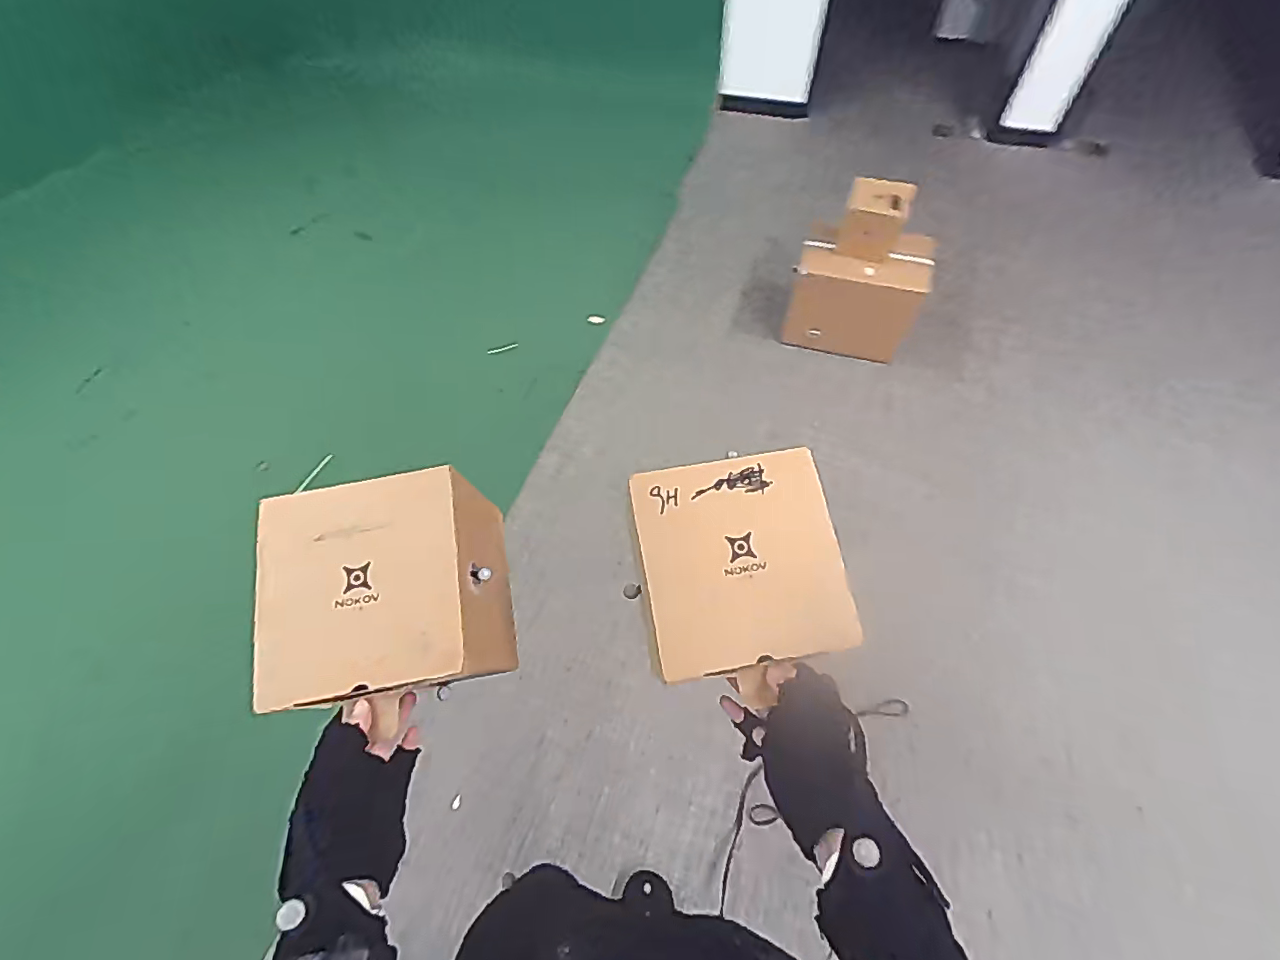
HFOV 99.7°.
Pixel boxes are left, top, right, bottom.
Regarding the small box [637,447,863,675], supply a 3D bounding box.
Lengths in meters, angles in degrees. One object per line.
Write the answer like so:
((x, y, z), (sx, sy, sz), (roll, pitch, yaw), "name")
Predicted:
((0.090, 0.084, 0.536), (0.168, 0.176, 0.179), (-8, 75, -4), "small box")

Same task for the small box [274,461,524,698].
((-0.217, 0.100, 0.526), (0.168, 0.176, 0.179), (-10, 72, -2), "small box")

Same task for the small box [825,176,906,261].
((0.715, -0.831, 1.729), (0.179, 0.176, 0.168), (21, 64, 14), "small box")
